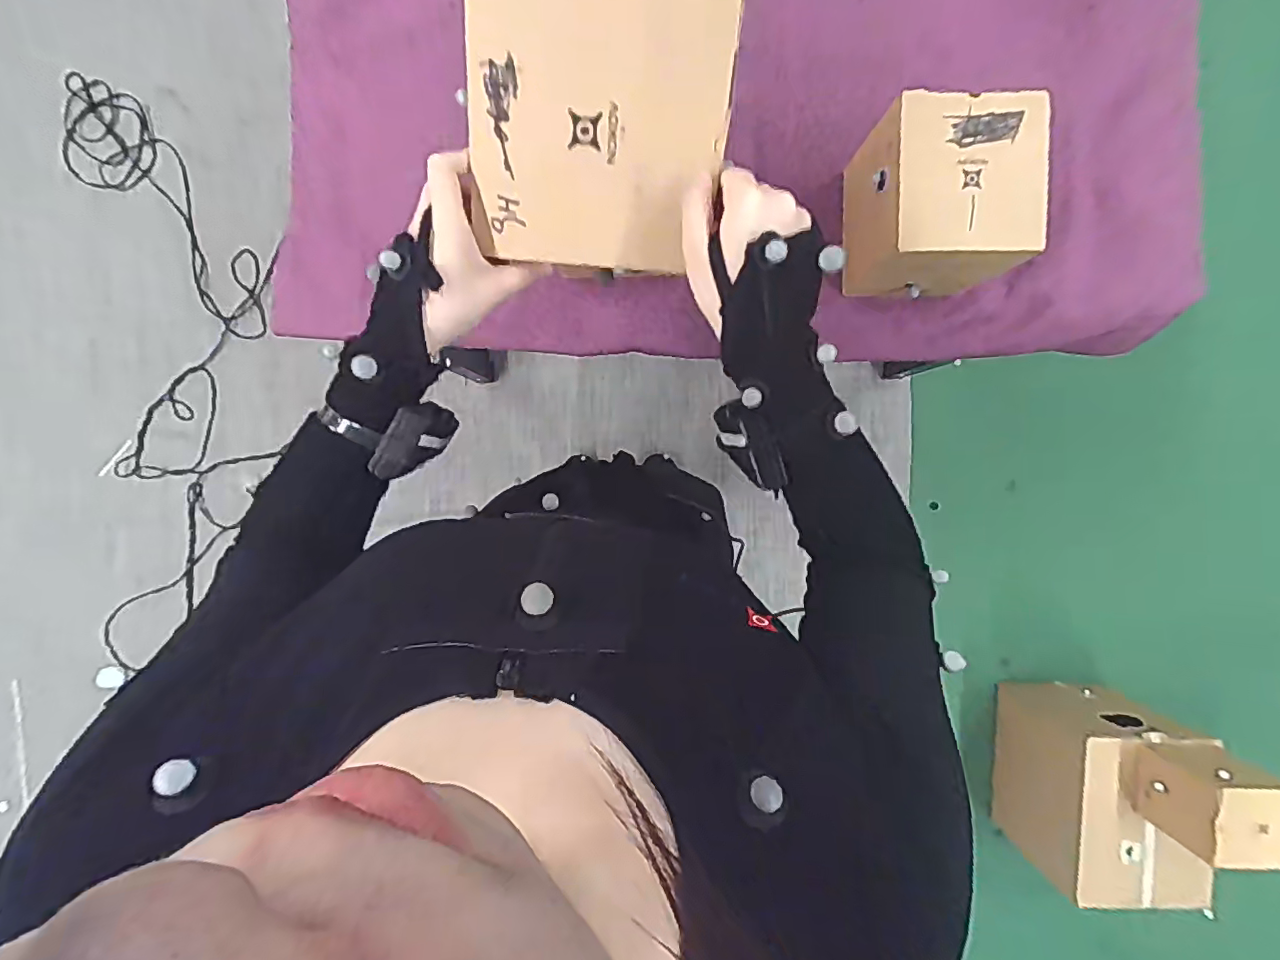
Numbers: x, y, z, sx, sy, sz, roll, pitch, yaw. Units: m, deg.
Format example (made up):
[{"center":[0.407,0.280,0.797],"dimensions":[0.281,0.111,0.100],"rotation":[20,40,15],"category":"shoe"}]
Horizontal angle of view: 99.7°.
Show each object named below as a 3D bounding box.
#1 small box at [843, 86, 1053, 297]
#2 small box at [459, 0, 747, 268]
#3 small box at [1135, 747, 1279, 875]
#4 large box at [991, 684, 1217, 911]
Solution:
[{"center":[0.362,-0.340,0.666],"dimensions":[0.168,0.176,0.179],"rotation":[0,93,0],"category":"small box"},{"center":[-0.029,-0.263,0.423],"dimensions":[0.179,0.176,0.168],"rotation":[5,111,-2],"category":"small box"},{"center":[1.201,0.681,1.129],"dimensions":[0.179,0.176,0.168],"rotation":[2,93,0],"category":"small box"},{"center":[1.148,0.775,1.376],"dimensions":[0.320,0.320,0.408],"rotation":[1,93,1],"category":"large box"}]
